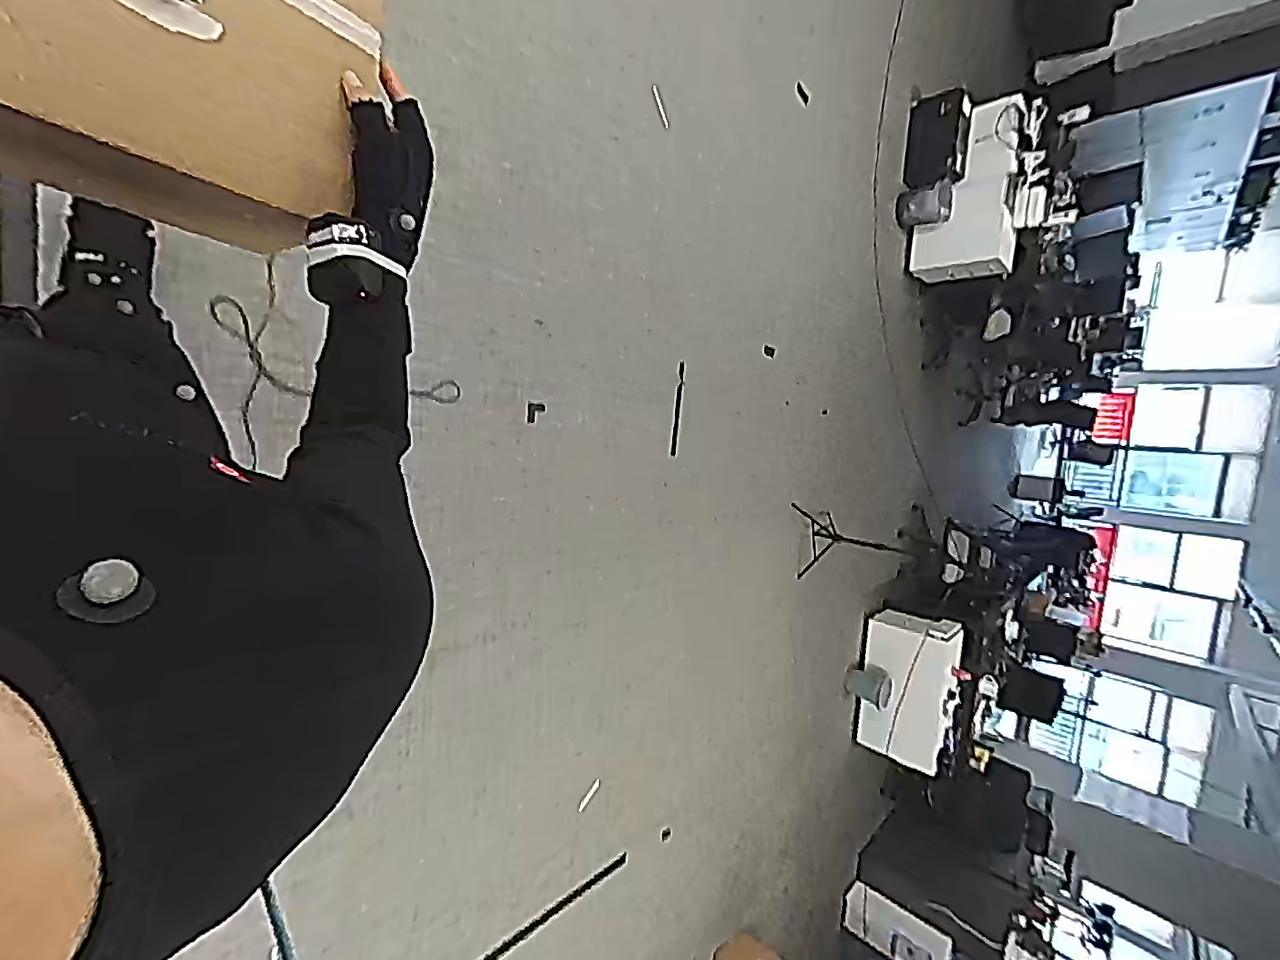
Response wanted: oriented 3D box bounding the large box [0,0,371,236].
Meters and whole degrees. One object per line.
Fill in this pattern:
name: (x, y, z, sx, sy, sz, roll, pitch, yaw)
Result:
large box: (-0.483, -0.433, 0.429, 0.408, 0.320, 0.320, 5, 100, -48)
